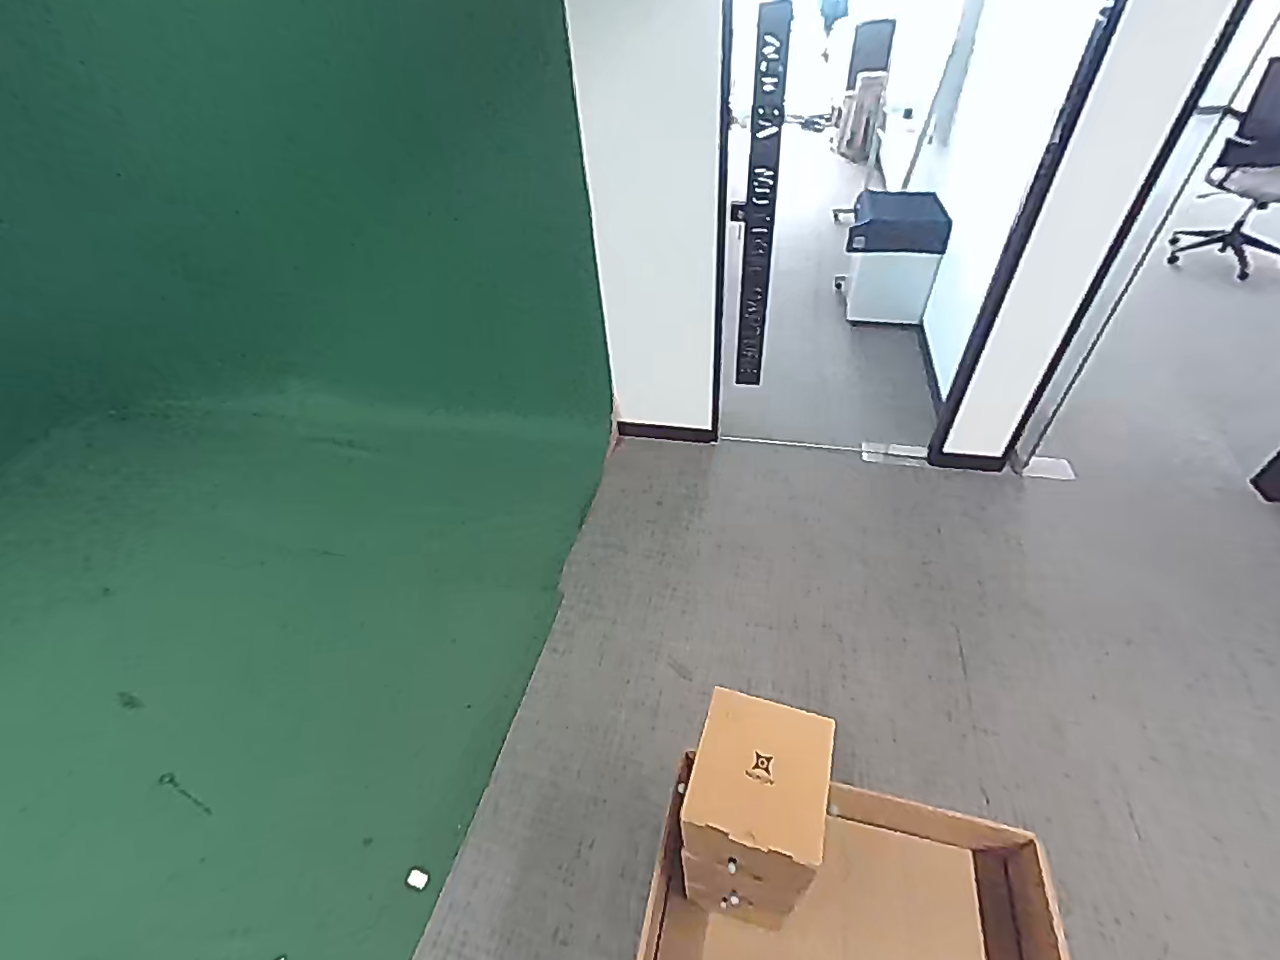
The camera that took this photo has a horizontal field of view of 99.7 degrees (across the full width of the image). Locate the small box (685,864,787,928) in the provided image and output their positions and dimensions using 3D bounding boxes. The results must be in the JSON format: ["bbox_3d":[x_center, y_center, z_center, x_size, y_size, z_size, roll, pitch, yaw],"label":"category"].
[{"bbox_3d":[0.177,0.654,0.962,0.168,0.176,0.179,9,45,14],"label":"small box"}]

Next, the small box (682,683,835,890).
[{"bbox_3d":[0.159,0.416,0.739,0.168,0.176,0.179,11,46,17],"label":"small box"}]

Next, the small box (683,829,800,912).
[{"bbox_3d":[0.167,0.534,0.850,0.168,0.176,0.179,9,45,17],"label":"small box"}]
